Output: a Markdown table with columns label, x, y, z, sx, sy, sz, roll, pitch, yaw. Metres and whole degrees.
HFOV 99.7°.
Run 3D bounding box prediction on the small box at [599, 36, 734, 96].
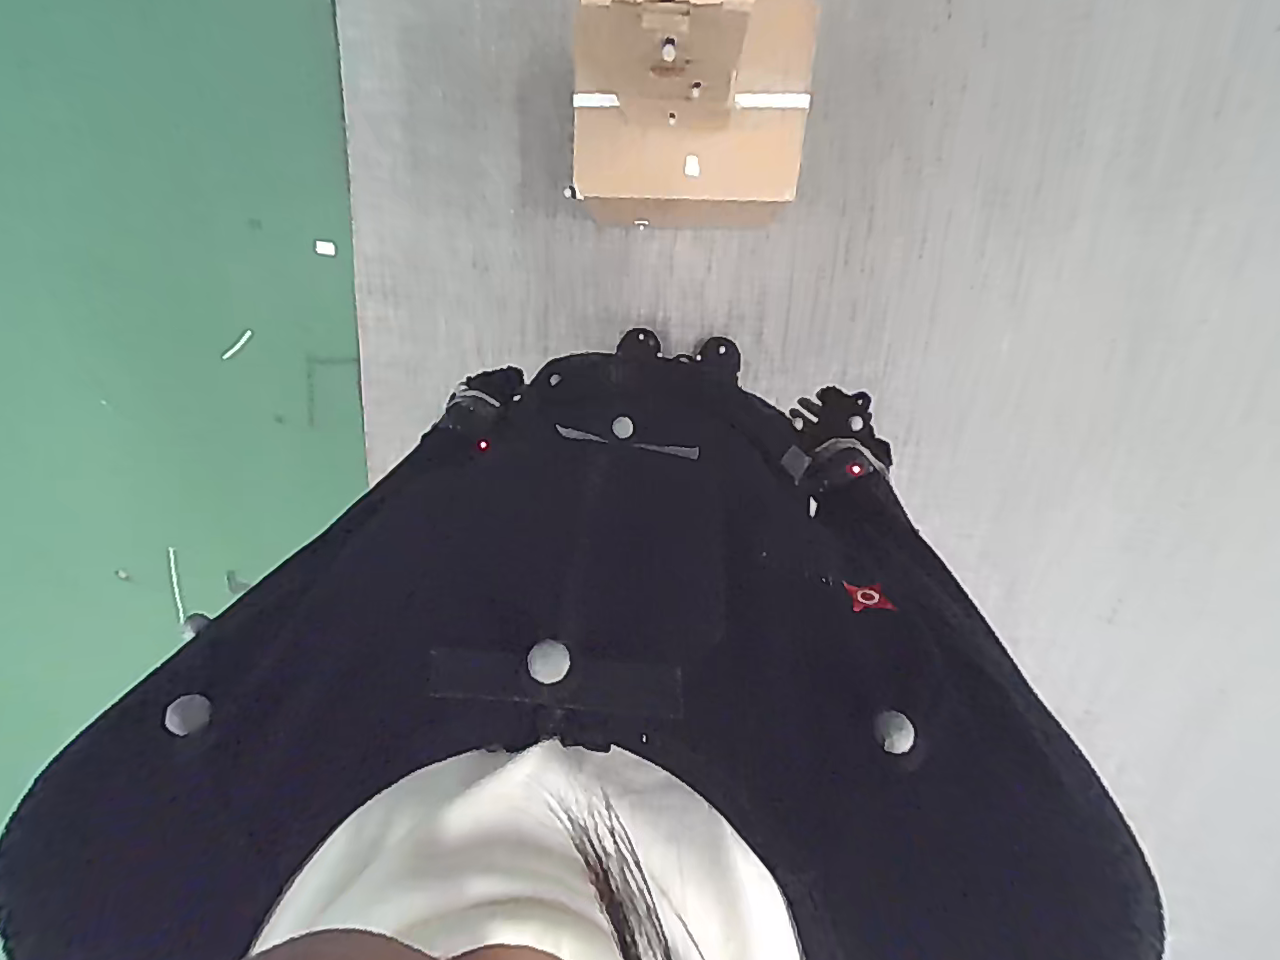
| label | x | y | z | sx | sy | sz | roll | pitch | yaw |
| --- | --- | --- | --- | --- | --- | --- | --- | --- | --- |
| small box | 0.046 | -0.616 | 0.691 | 0.168 | 0.176 | 0.179 | 6 | 112 | 3 |

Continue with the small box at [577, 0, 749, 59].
| label | x | y | z | sx | sy | sz | roll | pitch | yaw |
| --- | --- | --- | --- | --- | --- | --- | --- | --- | --- |
| small box | 0.034 | -0.551 | 0.541 | 0.168 | 0.176 | 0.179 | 5 | 113 | 4 |

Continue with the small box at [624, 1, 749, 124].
| label | x | y | z | sx | sy | sz | roll | pitch | yaw |
| --- | --- | --- | --- | --- | --- | --- | --- | --- | --- |
| small box | 0.071 | -0.669 | 0.842 | 0.179 | 0.176 | 0.168 | 3 | 113 | 5 |
